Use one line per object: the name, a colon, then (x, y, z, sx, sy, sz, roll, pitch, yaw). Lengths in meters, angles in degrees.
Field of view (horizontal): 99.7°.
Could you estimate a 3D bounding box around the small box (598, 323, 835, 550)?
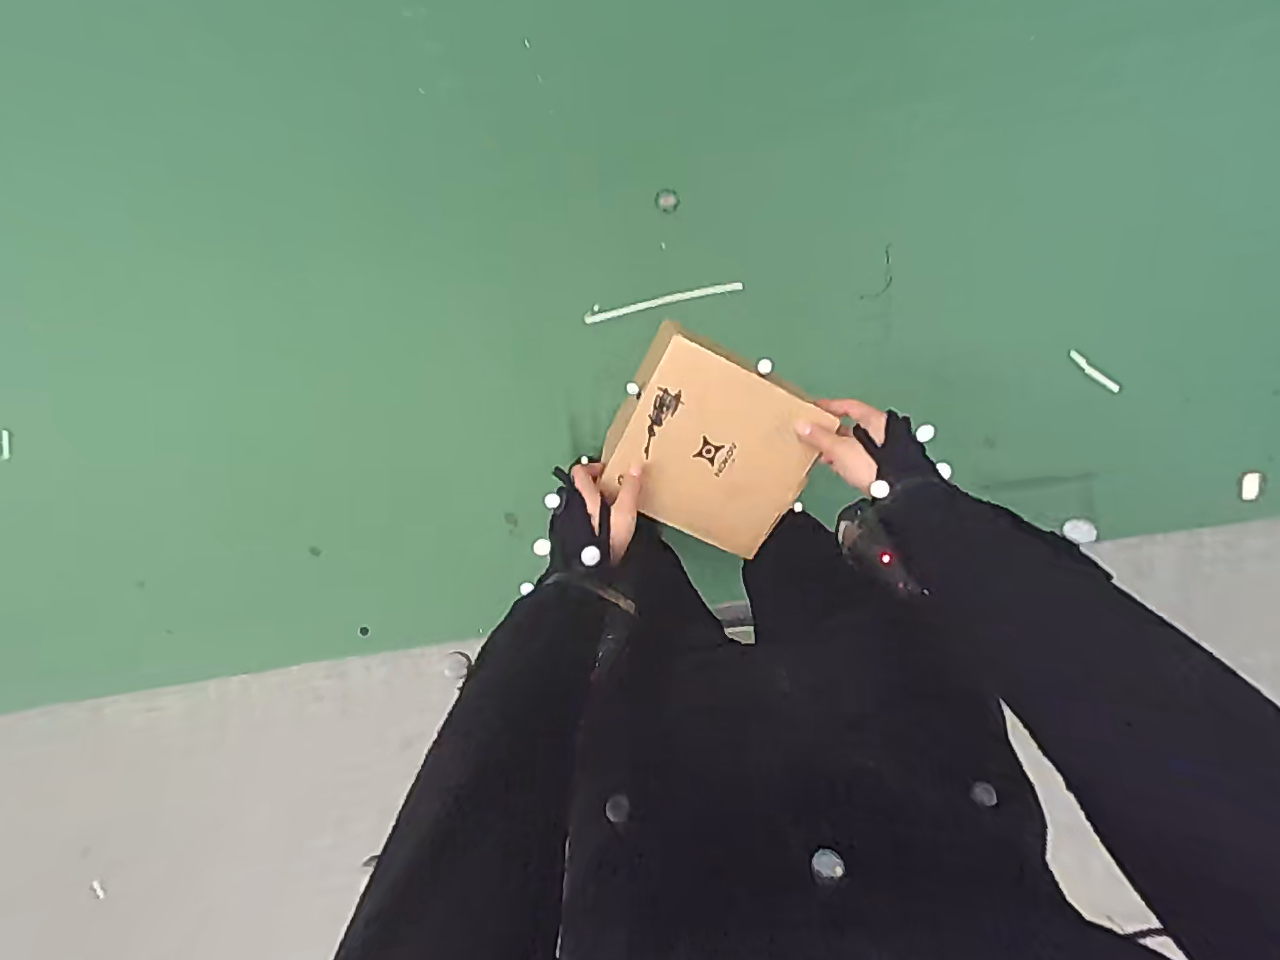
small box: (0.071, -0.058, 0.589, 0.179, 0.176, 0.168, 25, 109, -9)
